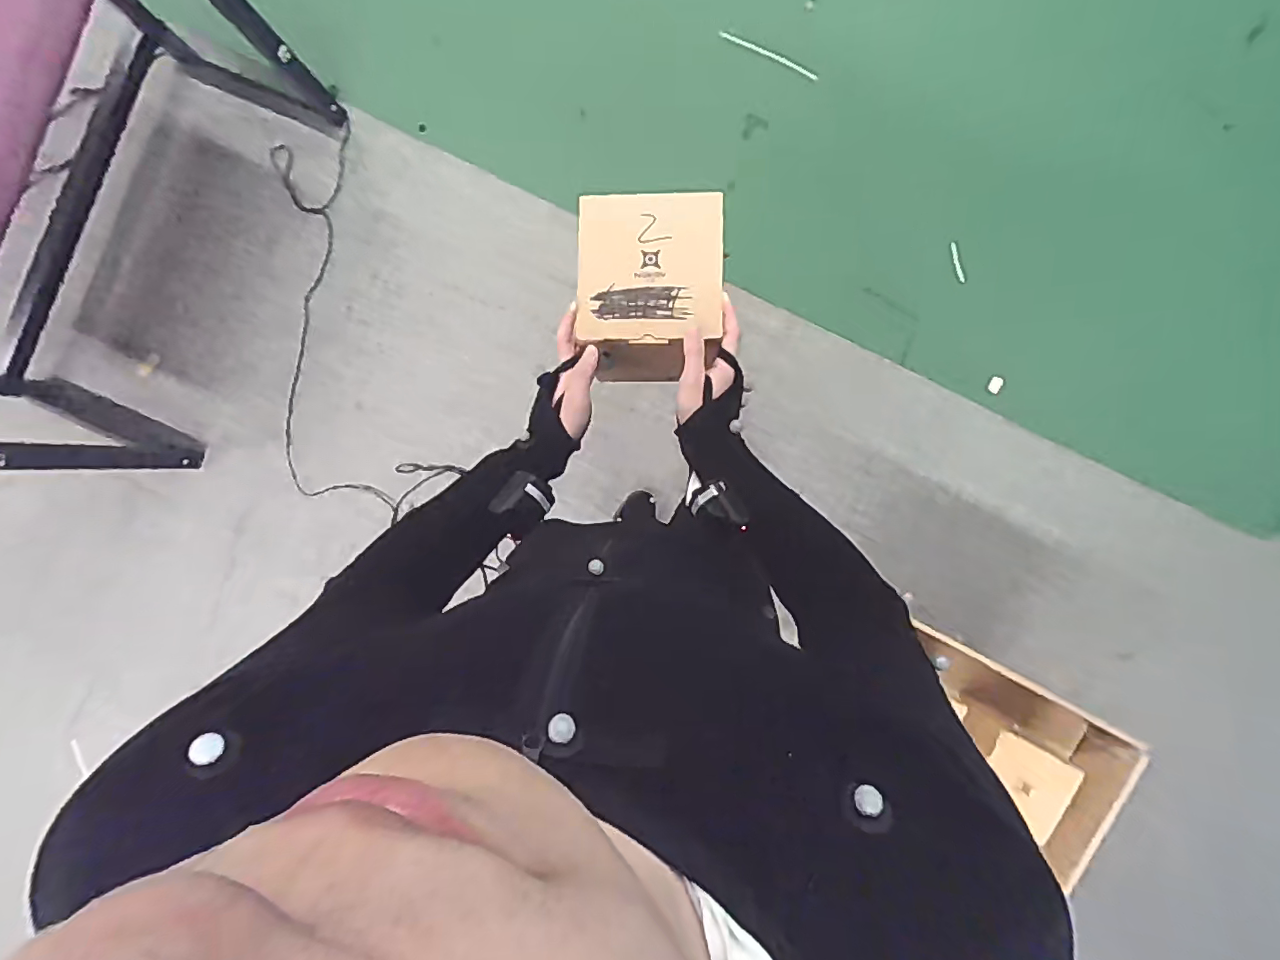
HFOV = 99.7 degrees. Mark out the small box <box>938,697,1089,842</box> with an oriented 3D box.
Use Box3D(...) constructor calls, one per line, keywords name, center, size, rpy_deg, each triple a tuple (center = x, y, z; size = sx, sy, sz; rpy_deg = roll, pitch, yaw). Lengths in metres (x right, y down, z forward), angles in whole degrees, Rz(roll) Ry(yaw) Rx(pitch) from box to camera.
Box3D(name="small box", center=(0.747, 0.582, 1.114), size=(0.179, 0.176, 0.168), rpy_deg=(28, 94, 3))
